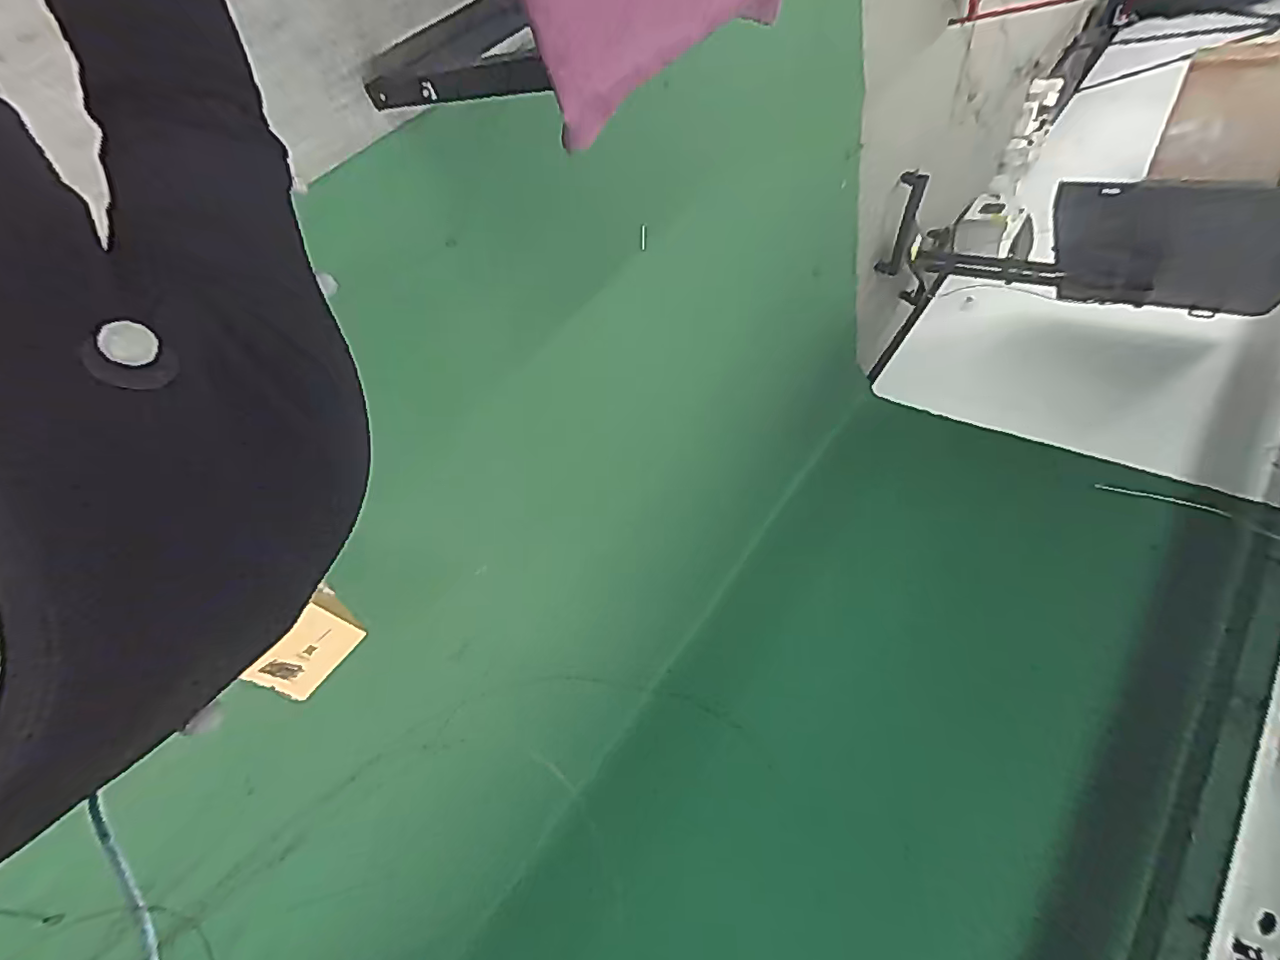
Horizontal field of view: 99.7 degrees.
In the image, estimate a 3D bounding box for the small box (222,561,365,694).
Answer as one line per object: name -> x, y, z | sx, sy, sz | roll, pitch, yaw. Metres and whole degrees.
small box -> -0.728, 0.305, 1.132 | 0.179, 0.176, 0.168 | -50, 142, -19
